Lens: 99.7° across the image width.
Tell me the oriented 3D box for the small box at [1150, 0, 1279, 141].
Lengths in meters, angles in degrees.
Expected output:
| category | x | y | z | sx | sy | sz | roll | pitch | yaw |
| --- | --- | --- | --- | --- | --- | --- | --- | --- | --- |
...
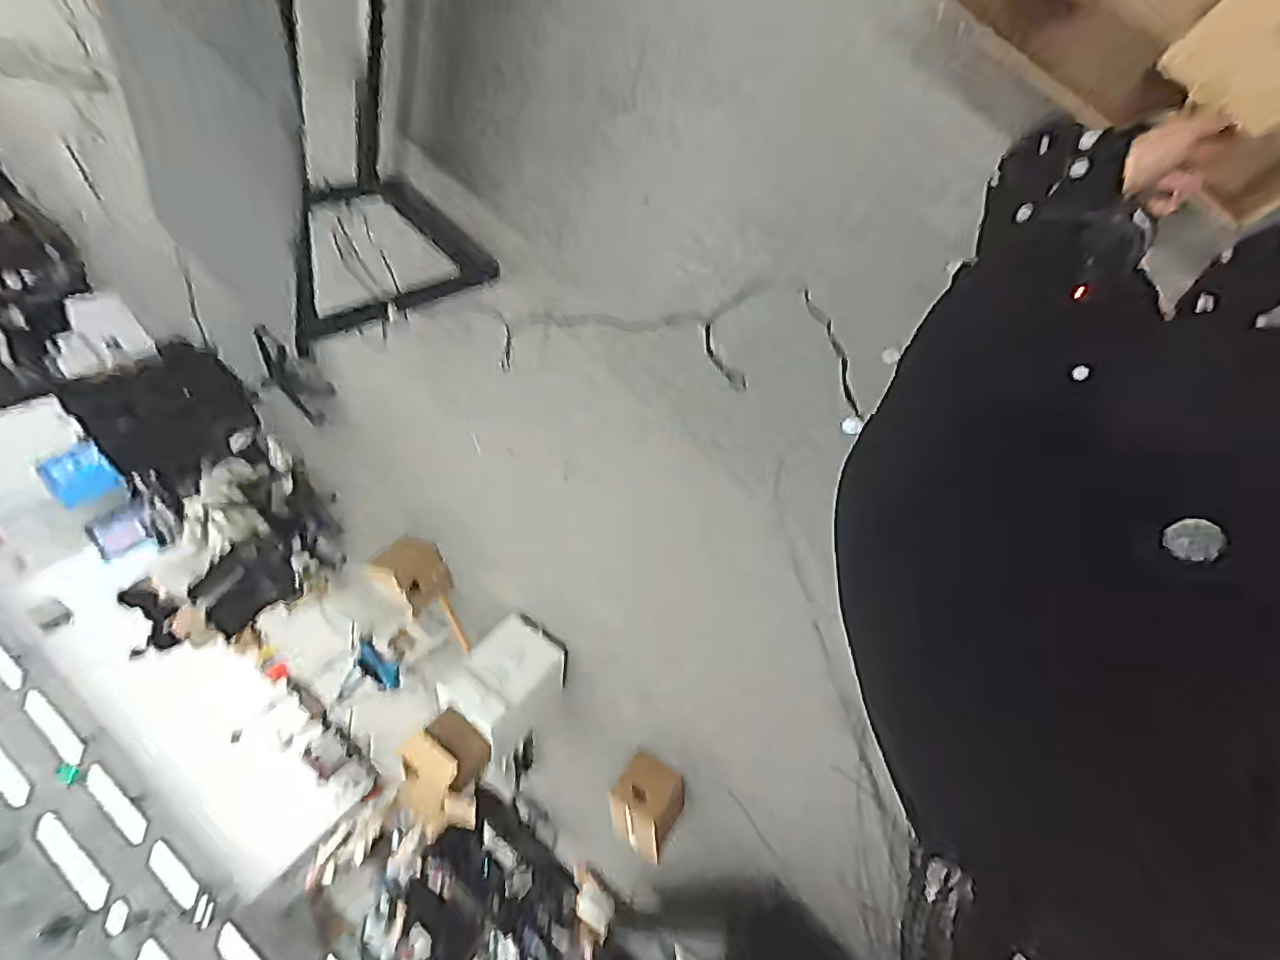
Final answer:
| category | x | y | z | sx | sy | sz | roll | pitch | yaw |
| --- | --- | --- | --- | --- | --- | --- | --- | --- | --- |
| small box | 0.817 | -0.578 | 0.696 | 0.168 | 0.176 | 0.179 | 45 | 140 | 5 |
